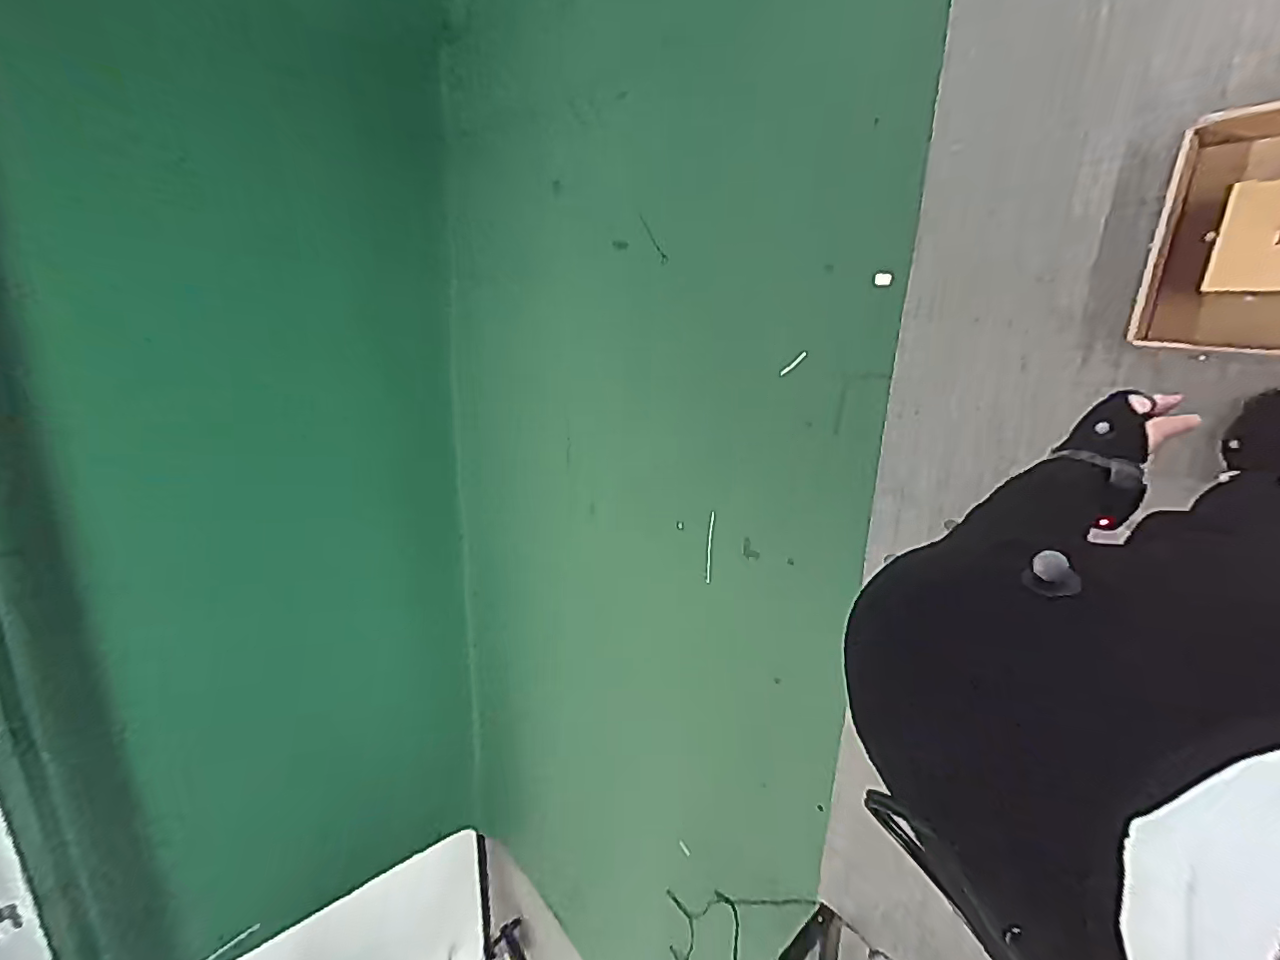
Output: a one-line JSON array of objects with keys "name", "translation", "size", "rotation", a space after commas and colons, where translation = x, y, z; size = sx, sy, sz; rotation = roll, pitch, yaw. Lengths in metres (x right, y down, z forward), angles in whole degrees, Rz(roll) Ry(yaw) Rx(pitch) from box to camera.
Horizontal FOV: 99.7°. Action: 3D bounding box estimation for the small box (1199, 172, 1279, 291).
[{"name": "small box", "translation": [1.111, -0.421, 0.930], "size": [0.168, 0.176, 0.179], "rotation": [19, 112, 45]}]
